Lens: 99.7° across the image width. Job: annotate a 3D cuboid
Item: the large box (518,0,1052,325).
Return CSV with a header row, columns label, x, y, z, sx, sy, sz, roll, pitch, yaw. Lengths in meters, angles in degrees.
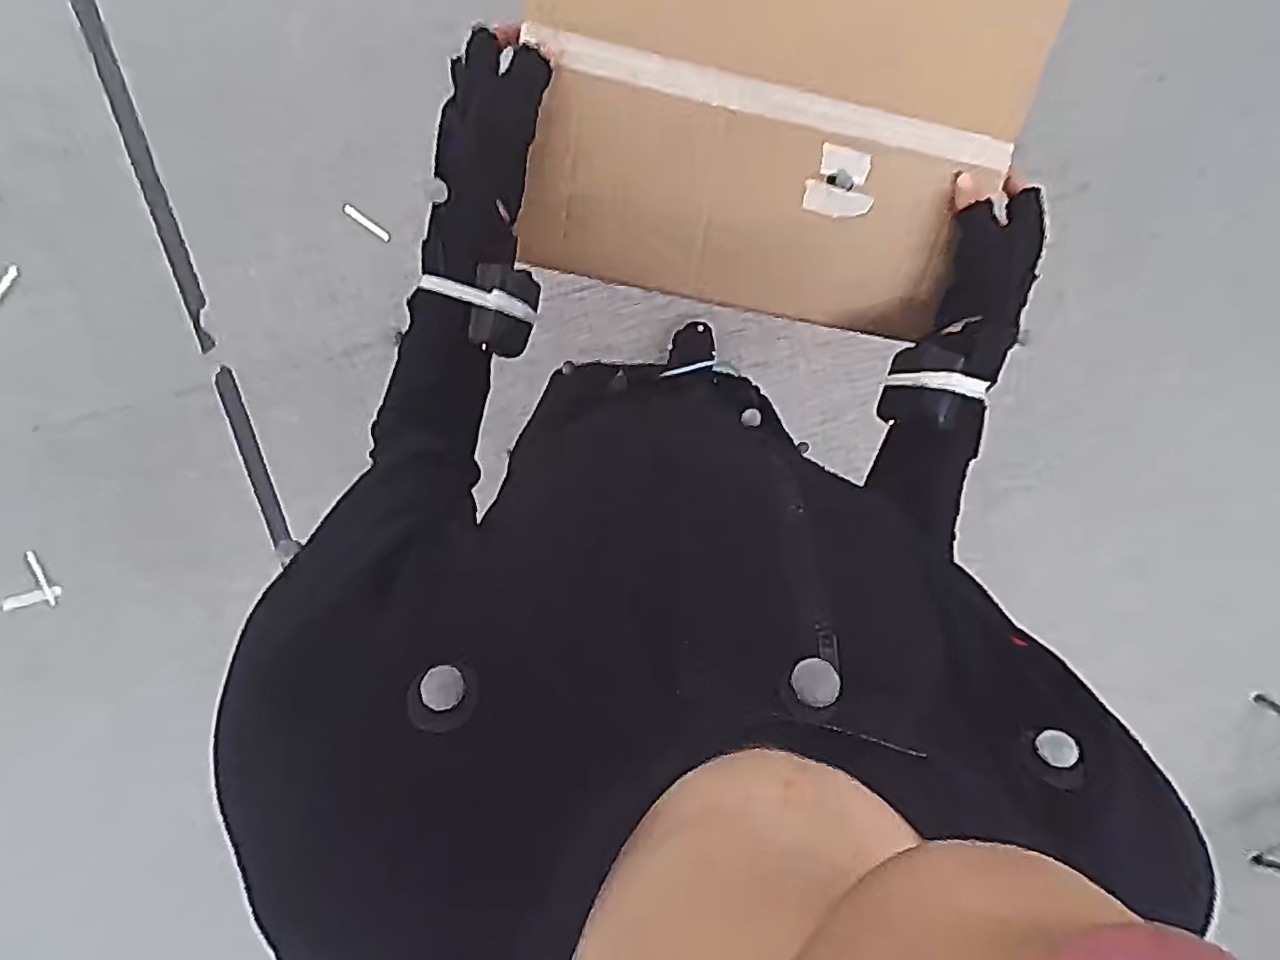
label,x,y,z,sx,sy,sz,roll,pitch,yaw
large box,0.102,-0.373,0.578,0.408,0.320,0.320,9,114,-8
